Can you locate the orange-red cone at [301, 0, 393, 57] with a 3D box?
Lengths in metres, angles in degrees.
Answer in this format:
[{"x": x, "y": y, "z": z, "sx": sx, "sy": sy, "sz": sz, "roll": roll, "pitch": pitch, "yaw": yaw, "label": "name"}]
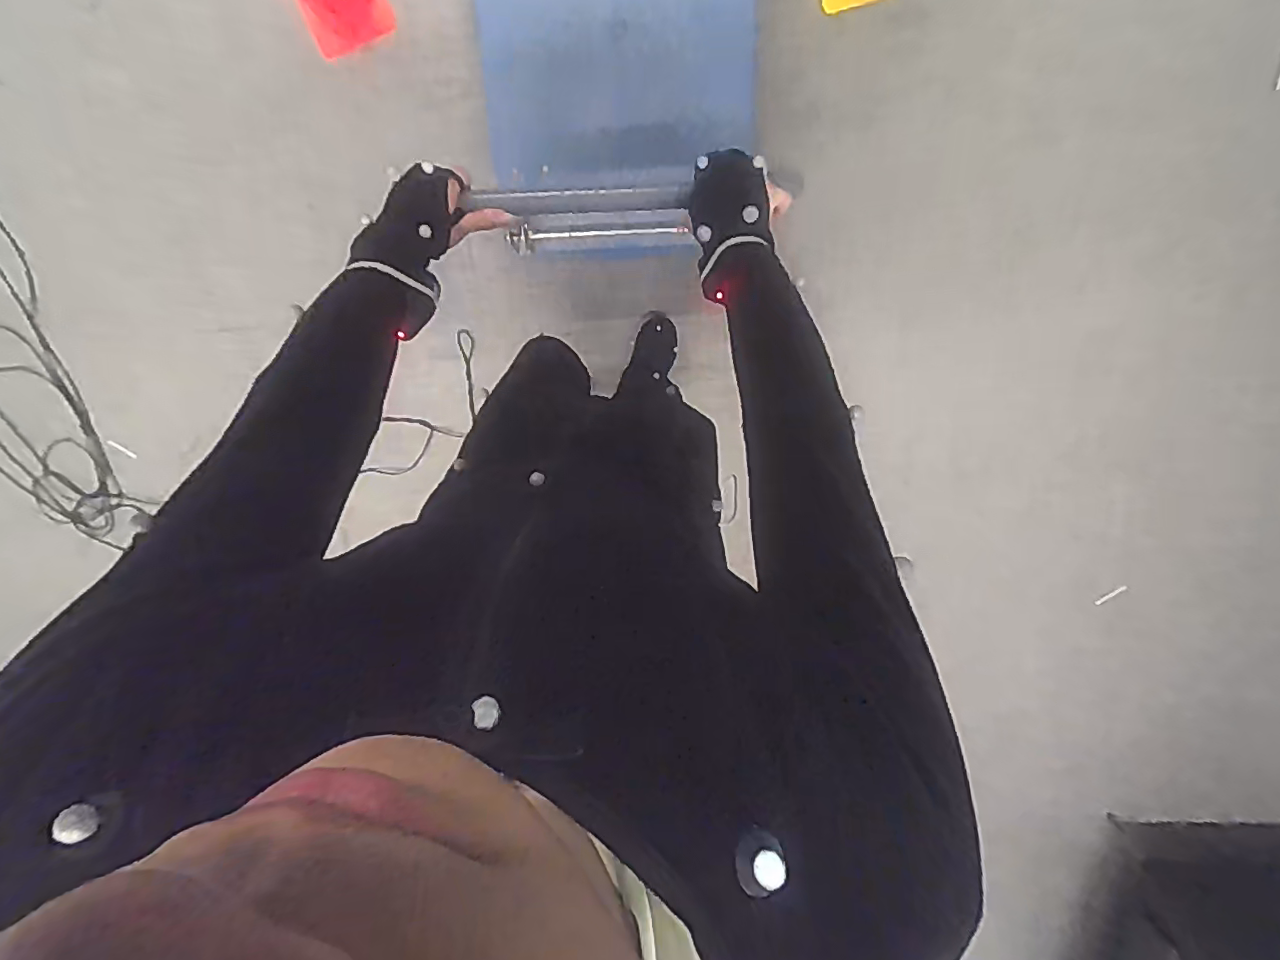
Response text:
[{"x": -0.701, "y": -1.058, "z": 1.092, "sx": 0.199, "sy": 0.360, "sz": 0.198, "roll": -15, "pitch": 109, "yaw": 10, "label": "orange-red cone"}]
